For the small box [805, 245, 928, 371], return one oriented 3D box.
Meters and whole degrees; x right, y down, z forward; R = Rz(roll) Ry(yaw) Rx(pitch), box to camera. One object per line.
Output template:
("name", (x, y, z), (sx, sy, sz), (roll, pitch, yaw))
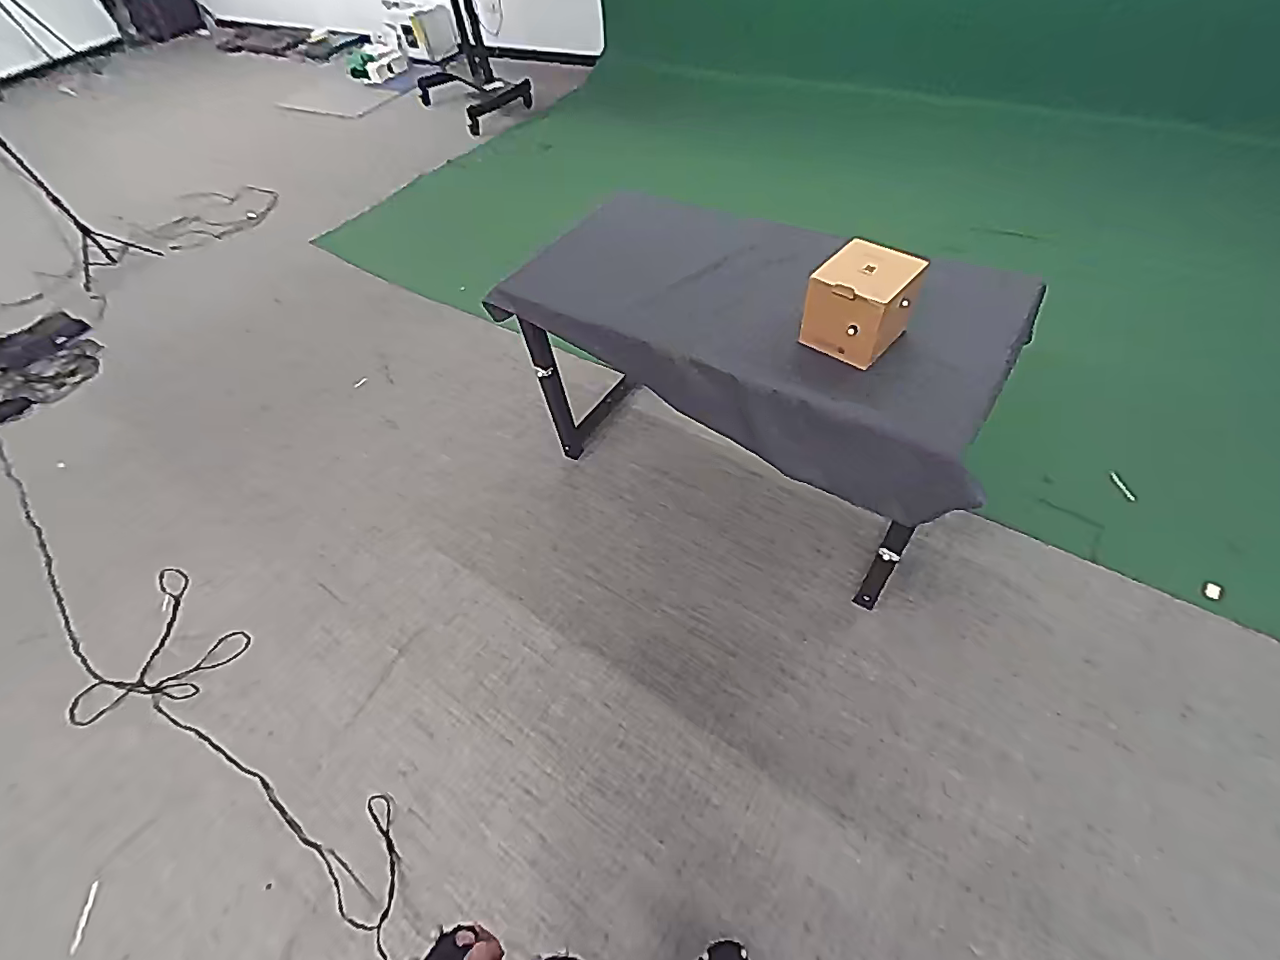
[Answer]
("small box", (0.472, -0.364, 1.155), (0.168, 0.176, 0.179), (36, 63, 28))
